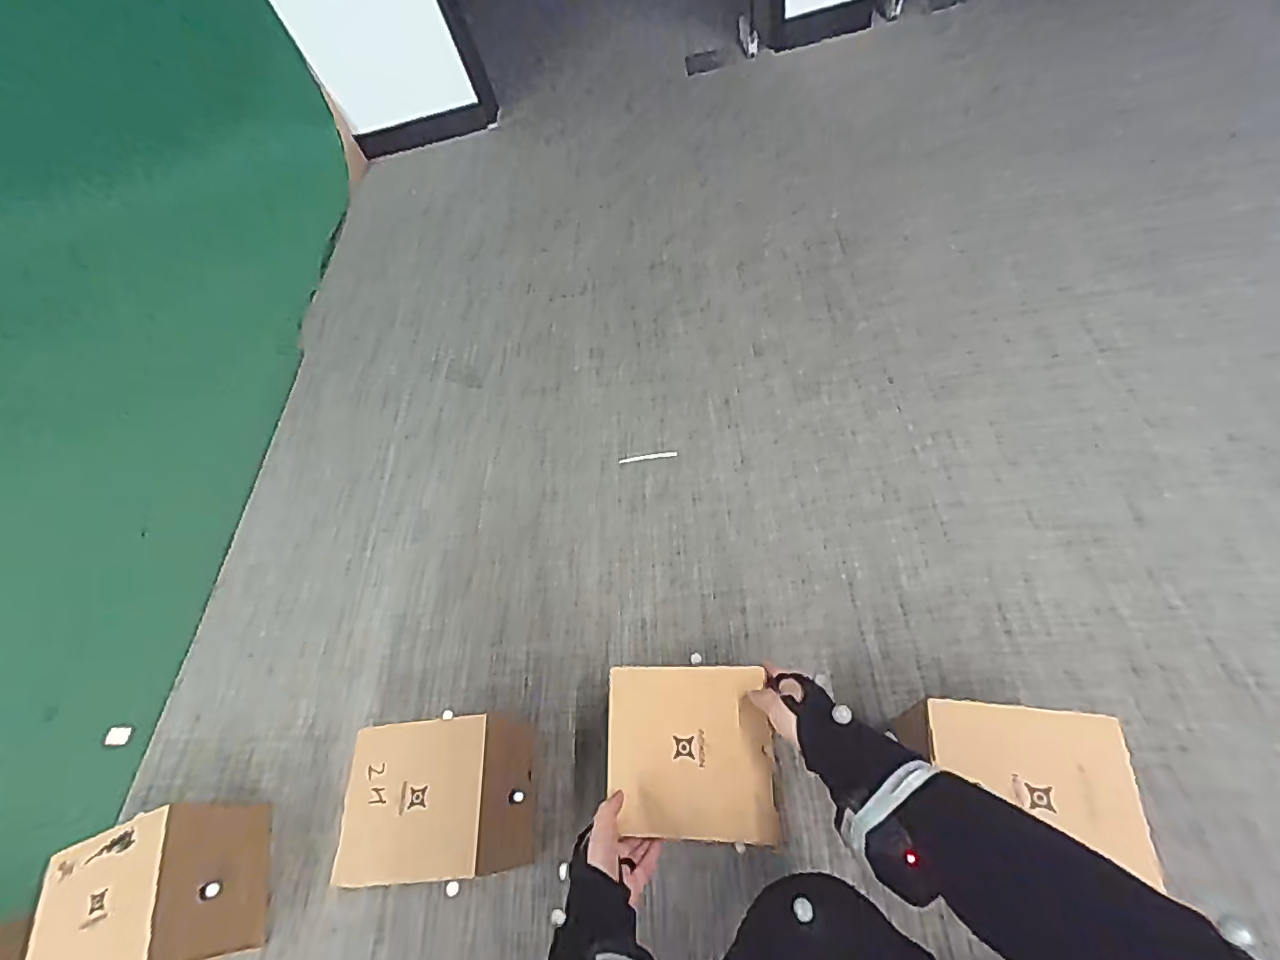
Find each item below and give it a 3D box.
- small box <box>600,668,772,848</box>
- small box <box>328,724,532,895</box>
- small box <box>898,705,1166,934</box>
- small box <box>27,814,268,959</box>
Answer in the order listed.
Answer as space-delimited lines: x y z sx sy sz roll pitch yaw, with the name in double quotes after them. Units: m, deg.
0.059 0.315 0.639 0.179 0.176 0.168 -3 68 8 "small box"
-0.249 0.418 0.693 0.179 0.176 0.168 -10 56 8 "small box"
0.385 0.351 0.578 0.179 0.176 0.168 1 60 14 "small box"
-0.622 0.557 0.702 0.168 0.176 0.179 -23 56 -1 "small box"
